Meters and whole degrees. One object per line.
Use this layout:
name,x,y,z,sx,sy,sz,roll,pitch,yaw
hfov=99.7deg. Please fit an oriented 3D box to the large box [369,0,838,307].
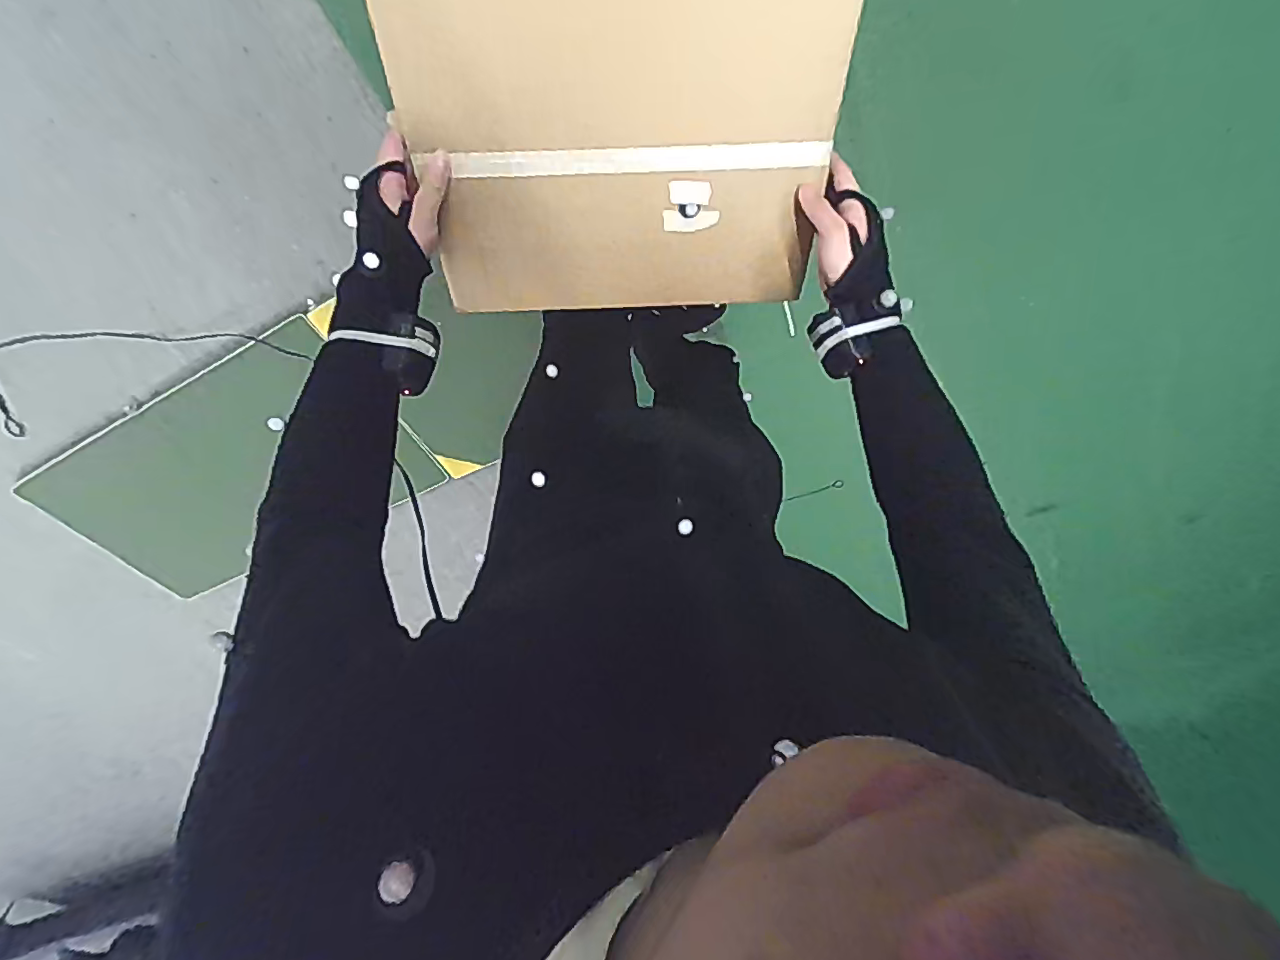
large box,-0.033,-0.433,0.640,0.408,0.320,0.320,-4,136,-1
